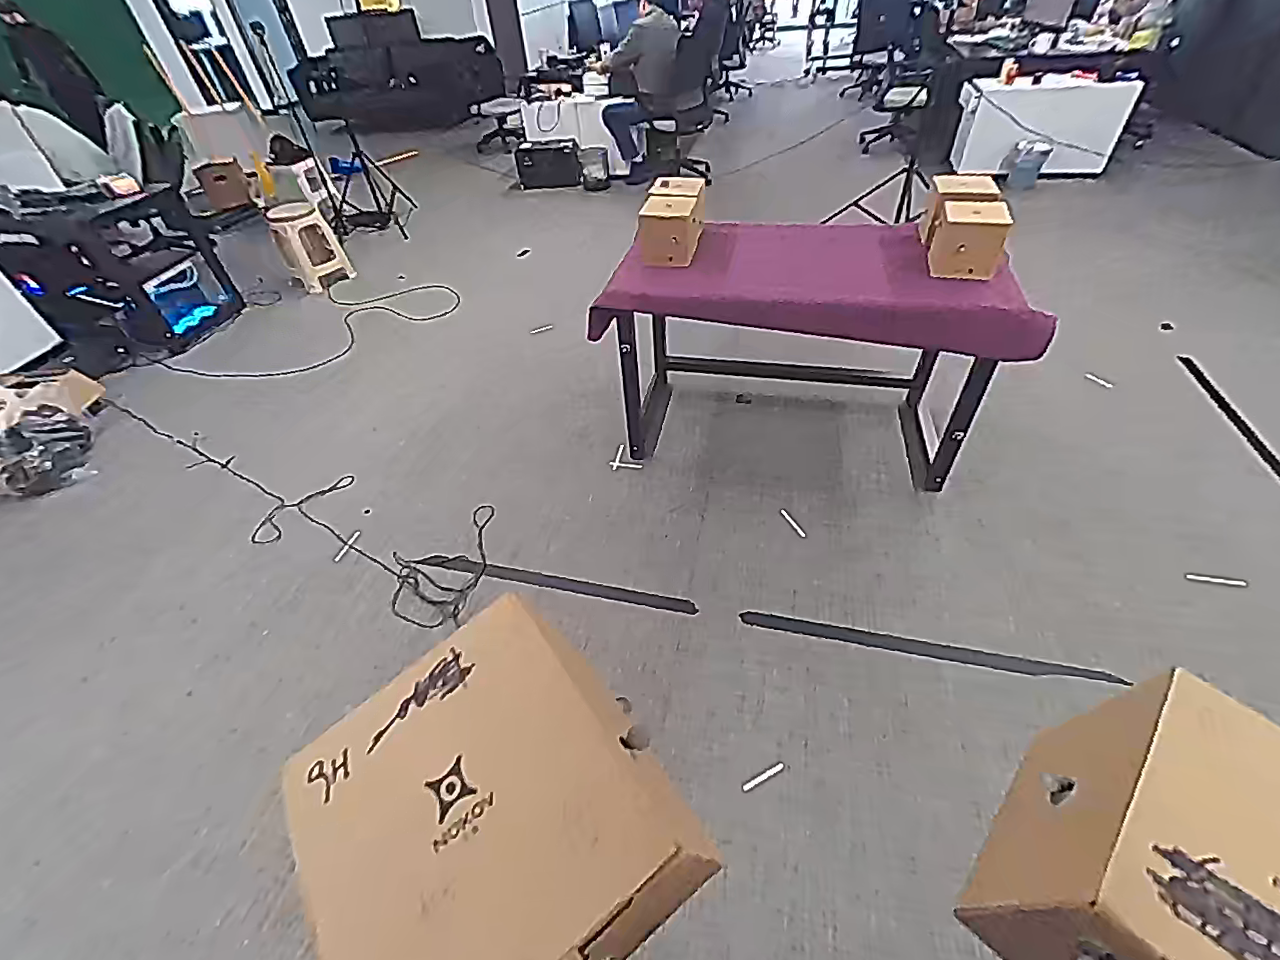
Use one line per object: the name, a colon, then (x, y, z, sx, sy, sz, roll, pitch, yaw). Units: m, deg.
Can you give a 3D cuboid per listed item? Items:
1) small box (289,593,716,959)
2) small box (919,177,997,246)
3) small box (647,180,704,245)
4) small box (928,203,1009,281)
small box: (-0.070, 0.210, 0.340, 0.168, 0.176, 0.179, -37, 53, -13)
small box: (1.030, -0.875, 1.773, 0.179, 0.176, 0.168, 8, 47, 12)
small box: (0.131, -0.968, 1.955, 0.179, 0.176, 0.168, 9, 48, 13)
small box: (0.979, -0.715, 1.625, 0.168, 0.176, 0.179, 10, 46, 16)
